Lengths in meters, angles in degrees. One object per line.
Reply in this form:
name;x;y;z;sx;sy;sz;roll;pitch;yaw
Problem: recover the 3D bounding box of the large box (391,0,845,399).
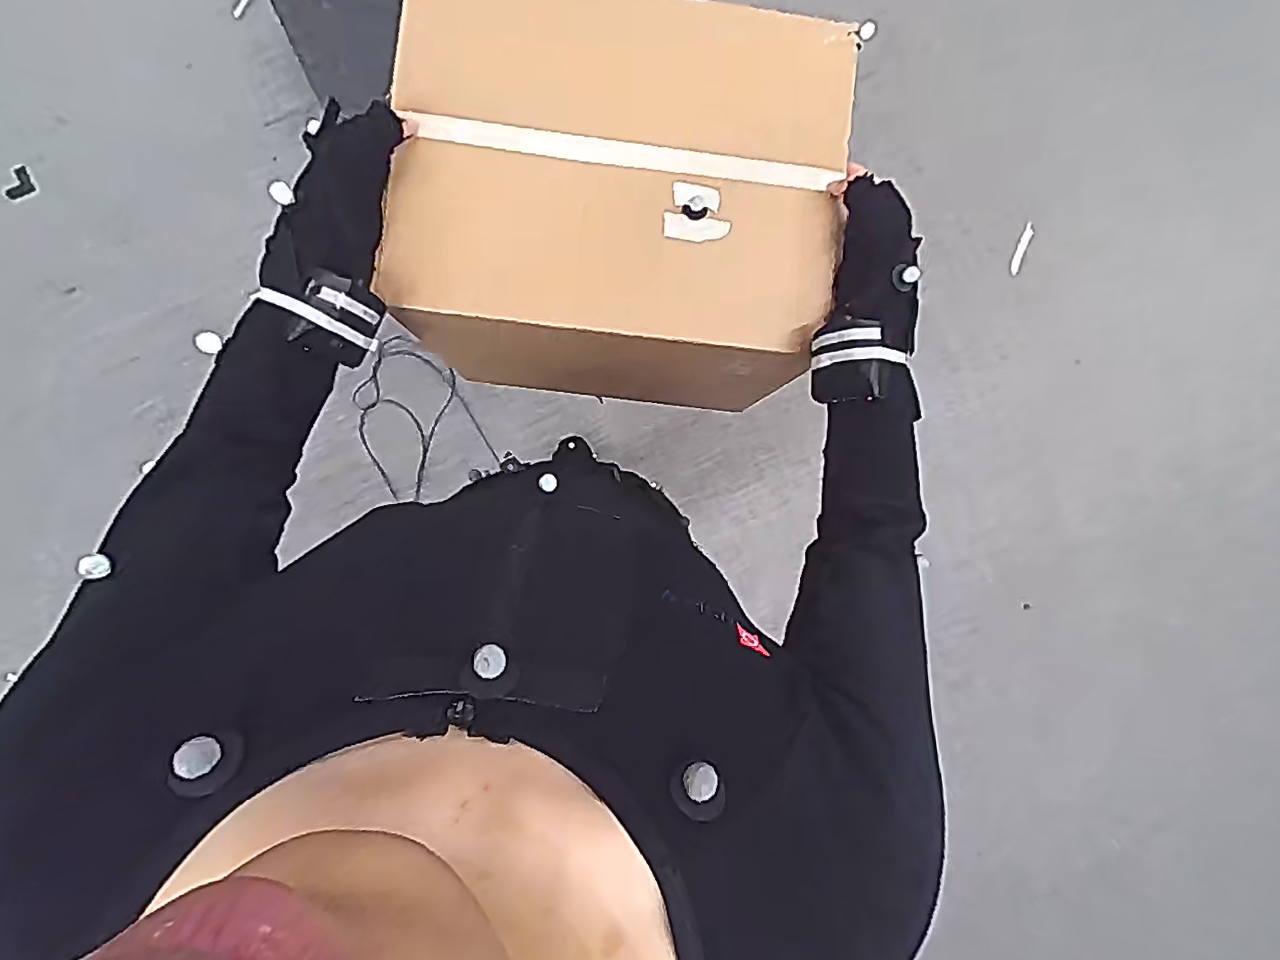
large box;-0.025;-0.289;0.641;0.408;0.320;0.320;5;88;-4
